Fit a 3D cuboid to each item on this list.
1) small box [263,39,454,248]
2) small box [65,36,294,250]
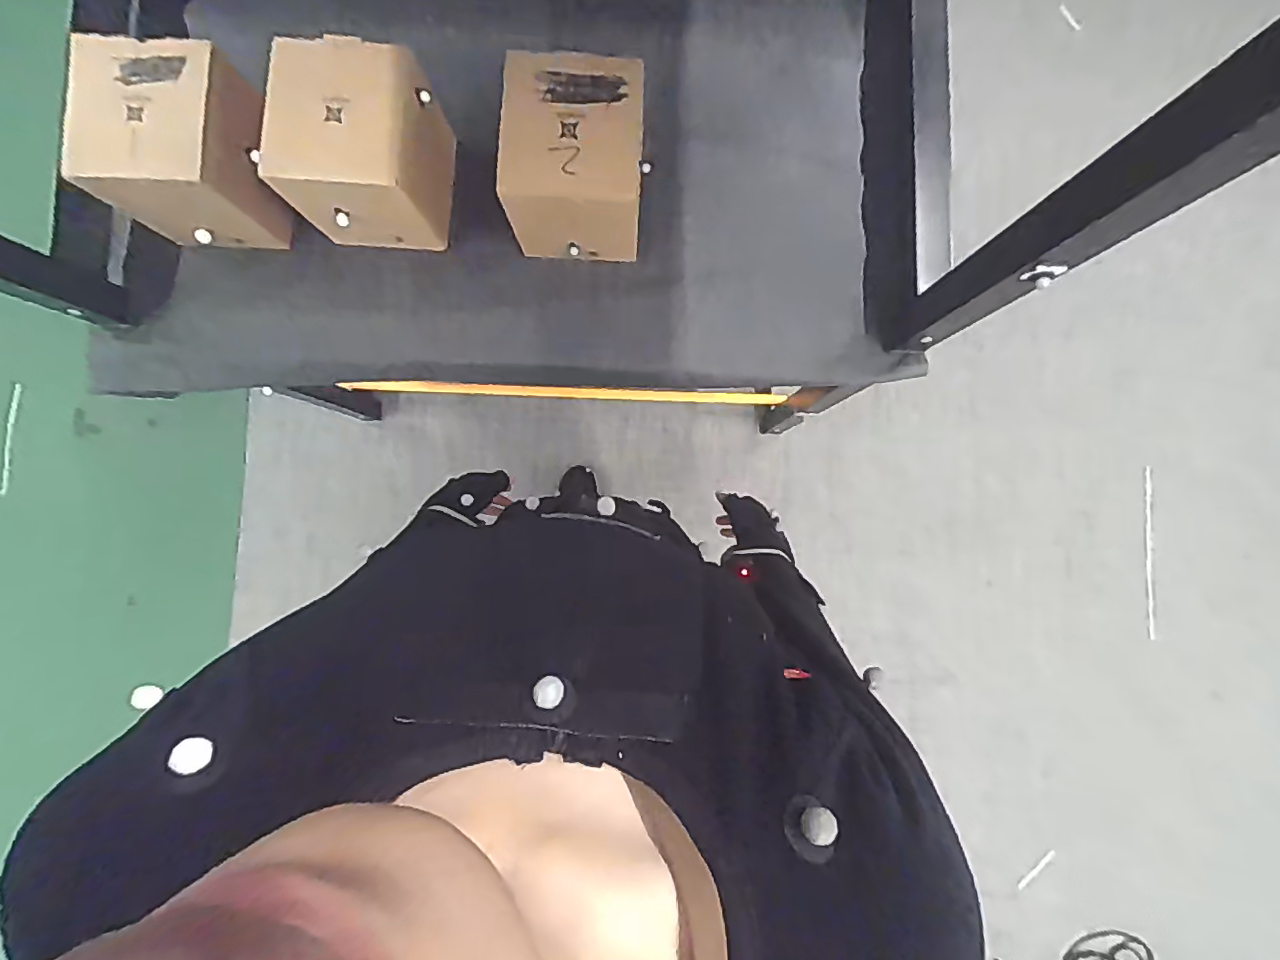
[{"bbox_3d":[-0.360,-0.433,0.722,0.168,0.176,0.179,3,86,-1],"label":"small box"},{"bbox_3d":[-0.587,-0.433,0.717,0.168,0.176,0.179,2,87,-1],"label":"small box"}]
